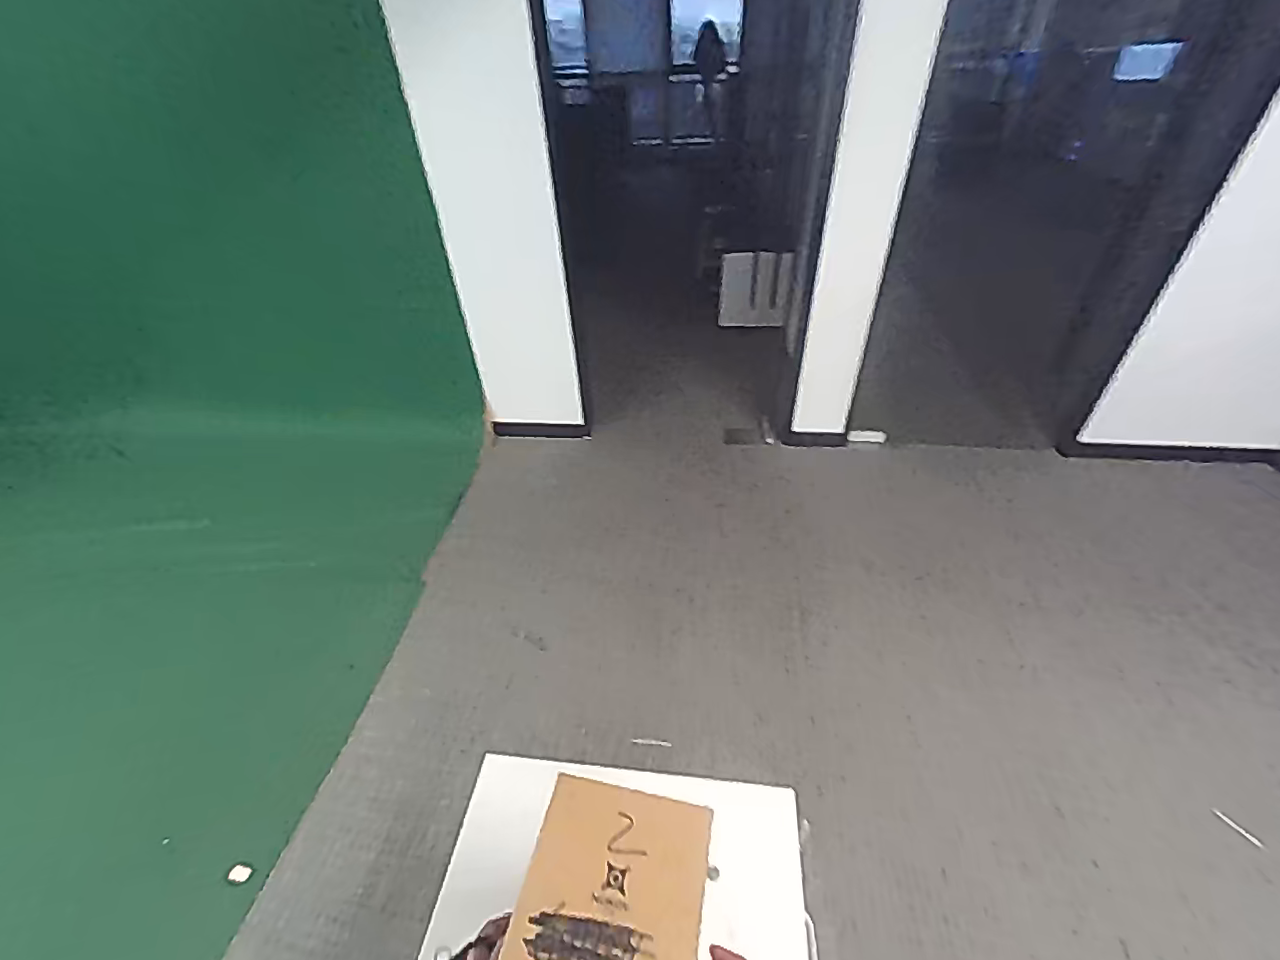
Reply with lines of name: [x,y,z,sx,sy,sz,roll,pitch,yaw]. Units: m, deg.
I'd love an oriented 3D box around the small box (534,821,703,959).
small box: [-0.020,0.544,0.638,0.168,0.176,0.179,5,39,10]
